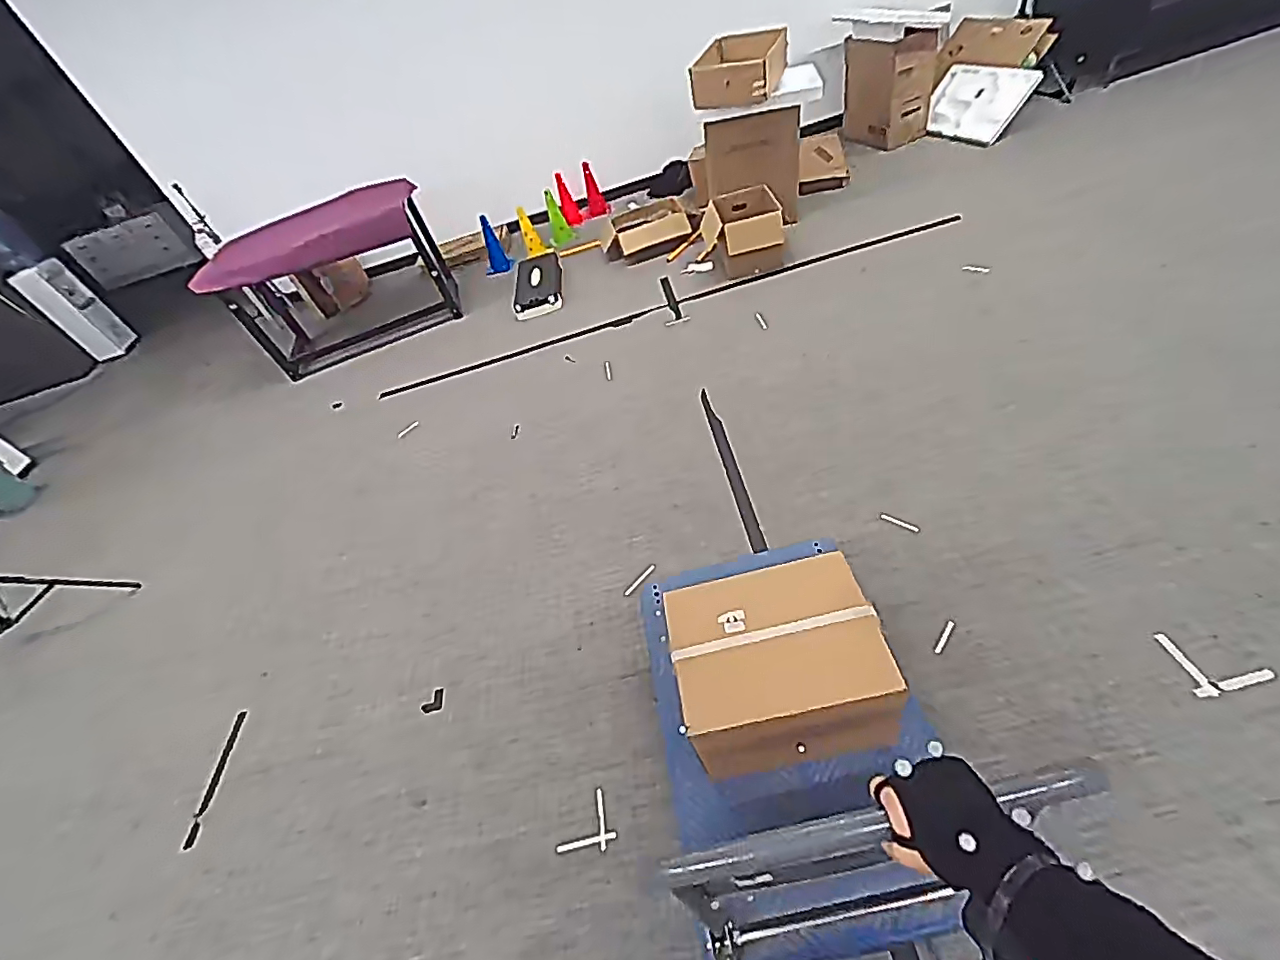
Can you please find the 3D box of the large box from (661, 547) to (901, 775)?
[{"bbox_3d":[0.294,0.401,1.179,0.408,0.320,0.320,-16,44,6],"label":"large box"}]
